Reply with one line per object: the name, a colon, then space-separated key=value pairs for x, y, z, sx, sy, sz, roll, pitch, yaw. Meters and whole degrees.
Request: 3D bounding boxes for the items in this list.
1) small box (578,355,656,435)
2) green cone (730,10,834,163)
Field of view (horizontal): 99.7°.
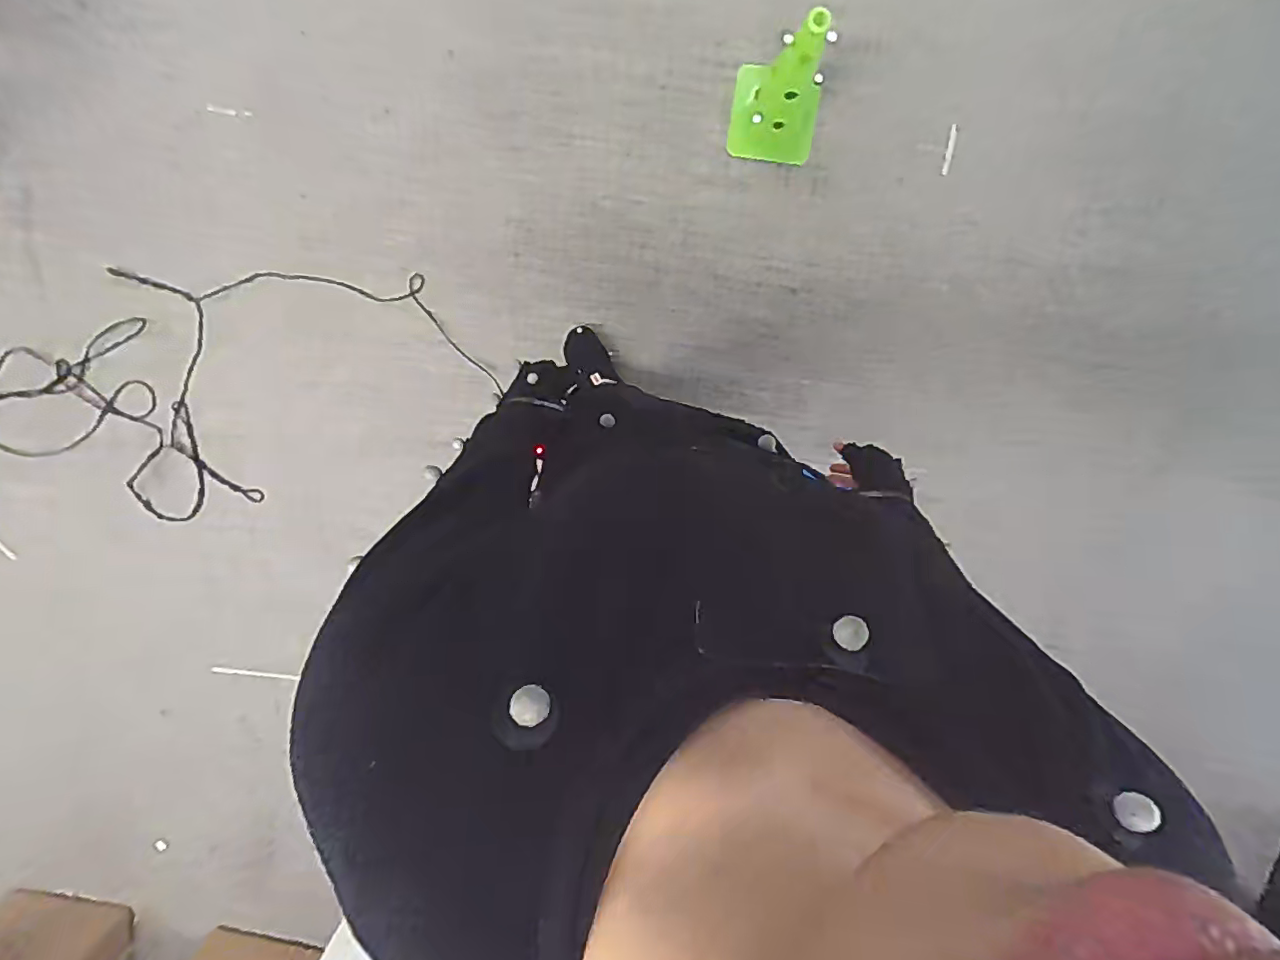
small box: x=-0.062 y=-0.222 z=1.382 sx=0.168 sy=0.176 sz=0.179 roll=-8 pitch=105 yaw=-12
green cone: x=0.316 y=-0.833 z=1.108 sx=0.200 sy=0.368 sz=0.202 roll=6 pitch=102 yaw=0
